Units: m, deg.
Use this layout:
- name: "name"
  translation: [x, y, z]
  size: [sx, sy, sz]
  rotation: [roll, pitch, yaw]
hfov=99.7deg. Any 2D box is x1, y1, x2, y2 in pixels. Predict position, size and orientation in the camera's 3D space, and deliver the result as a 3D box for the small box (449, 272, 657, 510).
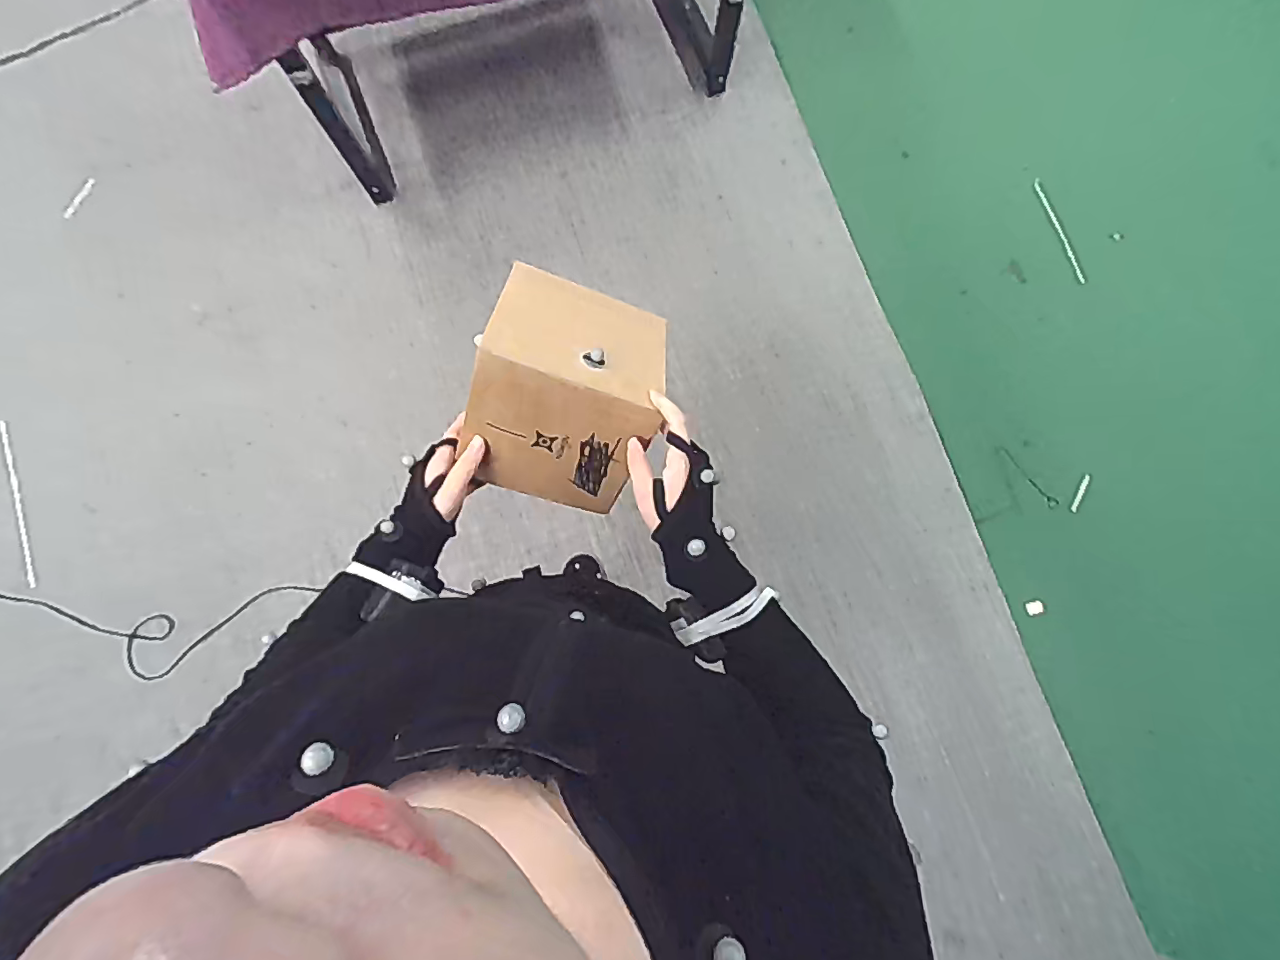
- name: "small box"
  translation: [-0.090, -0.097, 0.593]
  size: [0.179, 0.168, 0.176]
  rotation: [17, 46, -14]
